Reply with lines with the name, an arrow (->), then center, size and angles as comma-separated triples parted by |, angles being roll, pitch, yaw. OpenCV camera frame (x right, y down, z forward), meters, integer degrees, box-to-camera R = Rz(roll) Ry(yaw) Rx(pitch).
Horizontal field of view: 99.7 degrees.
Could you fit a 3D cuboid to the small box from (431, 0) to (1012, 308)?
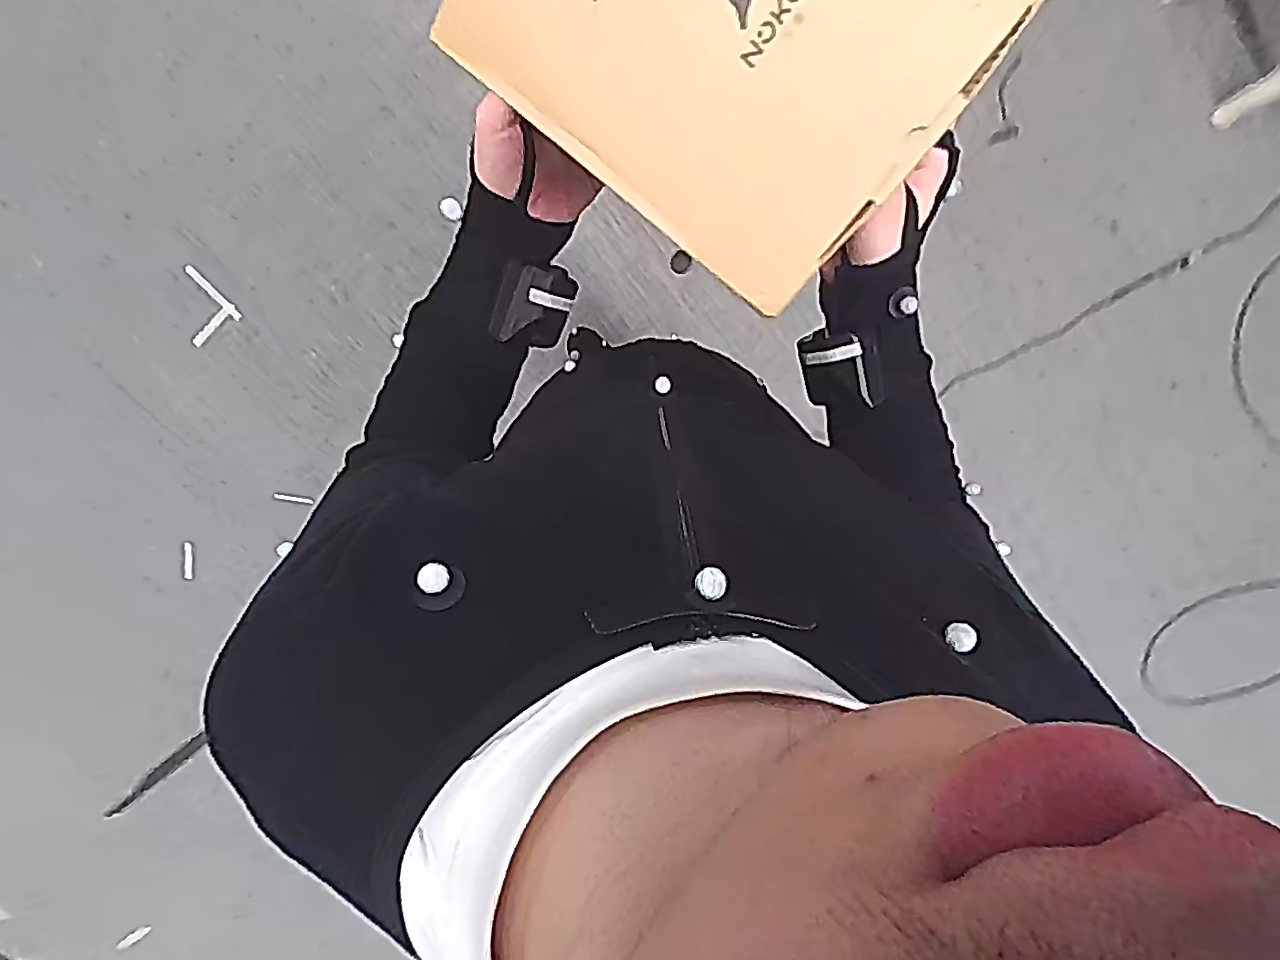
small box -> 0.037, -0.218, 0.271 | 0.179, 0.176, 0.168 | 33, 113, -12
